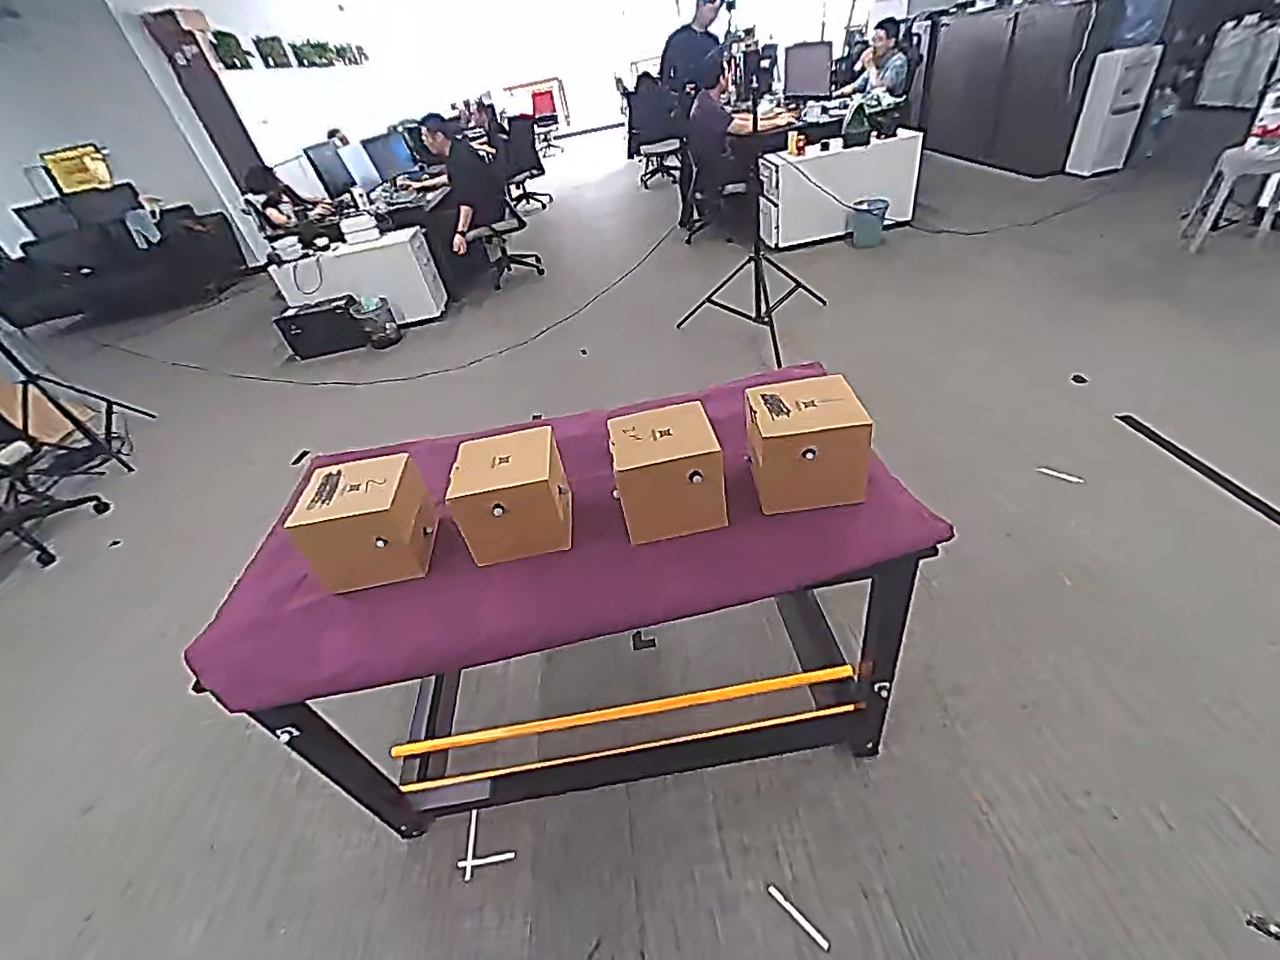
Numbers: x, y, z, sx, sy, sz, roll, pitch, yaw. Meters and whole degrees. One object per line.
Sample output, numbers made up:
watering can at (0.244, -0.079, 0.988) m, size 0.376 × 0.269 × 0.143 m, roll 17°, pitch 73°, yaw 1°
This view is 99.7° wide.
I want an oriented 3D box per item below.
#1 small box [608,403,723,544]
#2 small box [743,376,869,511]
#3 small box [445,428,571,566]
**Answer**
small box at (0.047, -0.011, 0.962) m, size 0.179 × 0.176 × 0.168 m, roll -12°, pitch 36°, yaw 1°
small box at (0.287, -0.061, 0.958) m, size 0.179 × 0.176 × 0.168 m, roll -8°, pitch 37°, yaw 5°
small box at (-0.227, 0.032, 0.989) m, size 0.179 × 0.176 × 0.168 m, roll -12°, pitch 38°, yaw 2°
